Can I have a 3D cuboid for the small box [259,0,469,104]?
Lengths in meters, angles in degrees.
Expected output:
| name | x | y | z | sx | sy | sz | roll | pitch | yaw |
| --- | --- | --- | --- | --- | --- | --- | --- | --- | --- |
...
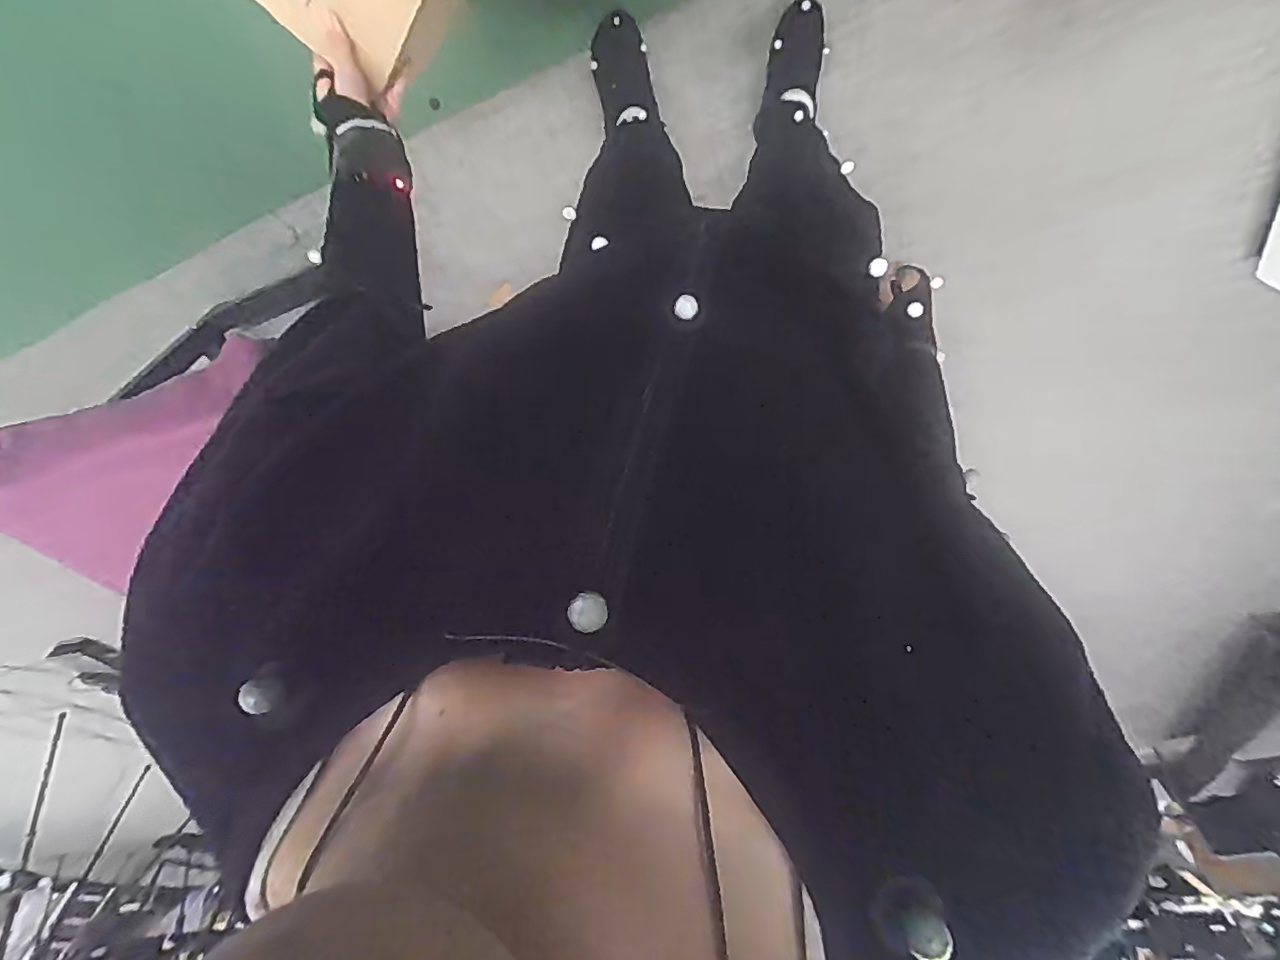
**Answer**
| name | x | y | z | sx | sy | sz | roll | pitch | yaw |
| --- | --- | --- | --- | --- | --- | --- | --- | --- | --- |
| small box | -0.260 | -0.527 | 0.522 | 0.168 | 0.176 | 0.179 | 35 | 136 | -27 |
